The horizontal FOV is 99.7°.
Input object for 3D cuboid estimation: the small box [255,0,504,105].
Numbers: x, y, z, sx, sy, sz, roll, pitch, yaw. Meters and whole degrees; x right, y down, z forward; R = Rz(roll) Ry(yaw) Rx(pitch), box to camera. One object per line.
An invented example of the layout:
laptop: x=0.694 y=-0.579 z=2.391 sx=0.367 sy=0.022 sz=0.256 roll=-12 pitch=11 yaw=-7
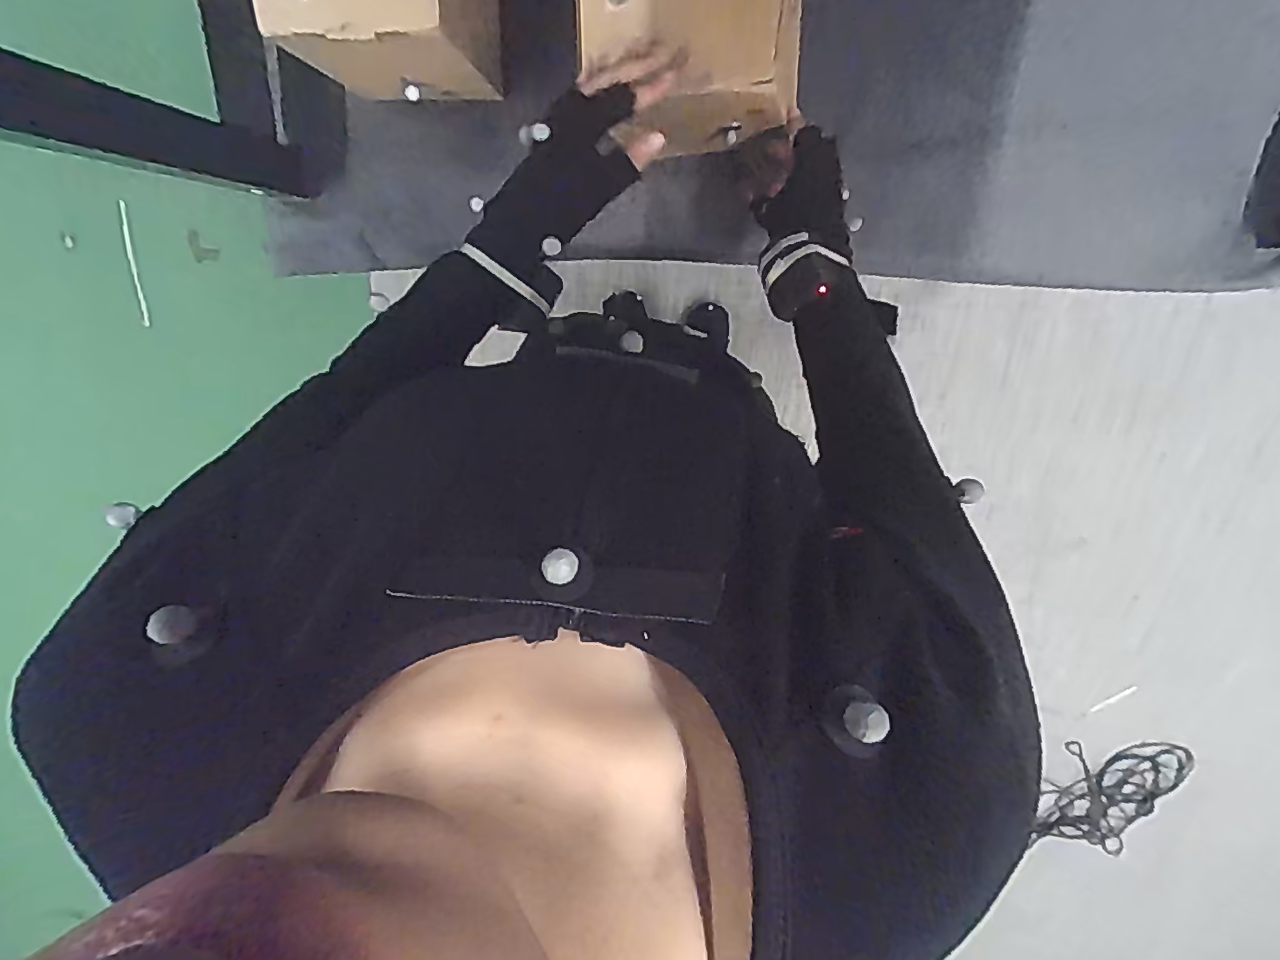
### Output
small box: x=-0.236 y=-0.486 z=0.510 sx=0.168 sy=0.176 sz=0.179 roll=3 pitch=109 yaw=5
